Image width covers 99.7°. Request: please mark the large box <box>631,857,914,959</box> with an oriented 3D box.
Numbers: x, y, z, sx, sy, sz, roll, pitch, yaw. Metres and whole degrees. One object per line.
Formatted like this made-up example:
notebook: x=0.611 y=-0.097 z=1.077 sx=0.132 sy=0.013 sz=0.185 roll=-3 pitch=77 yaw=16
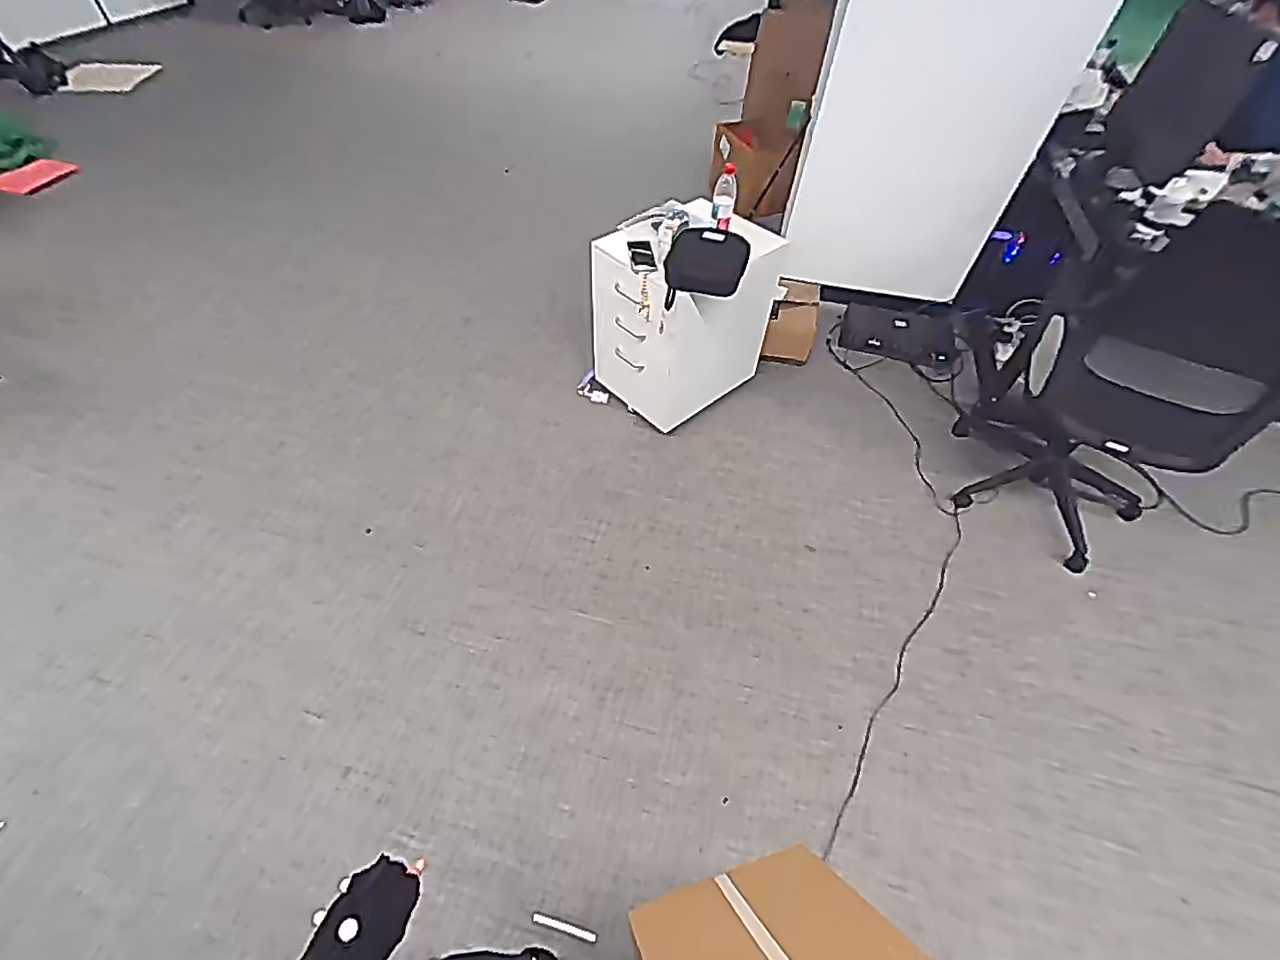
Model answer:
large box: x=0.203 y=0.765 z=0.662 sx=0.320 sy=0.408 sz=0.320 roll=-10 pitch=83 yaw=-14
